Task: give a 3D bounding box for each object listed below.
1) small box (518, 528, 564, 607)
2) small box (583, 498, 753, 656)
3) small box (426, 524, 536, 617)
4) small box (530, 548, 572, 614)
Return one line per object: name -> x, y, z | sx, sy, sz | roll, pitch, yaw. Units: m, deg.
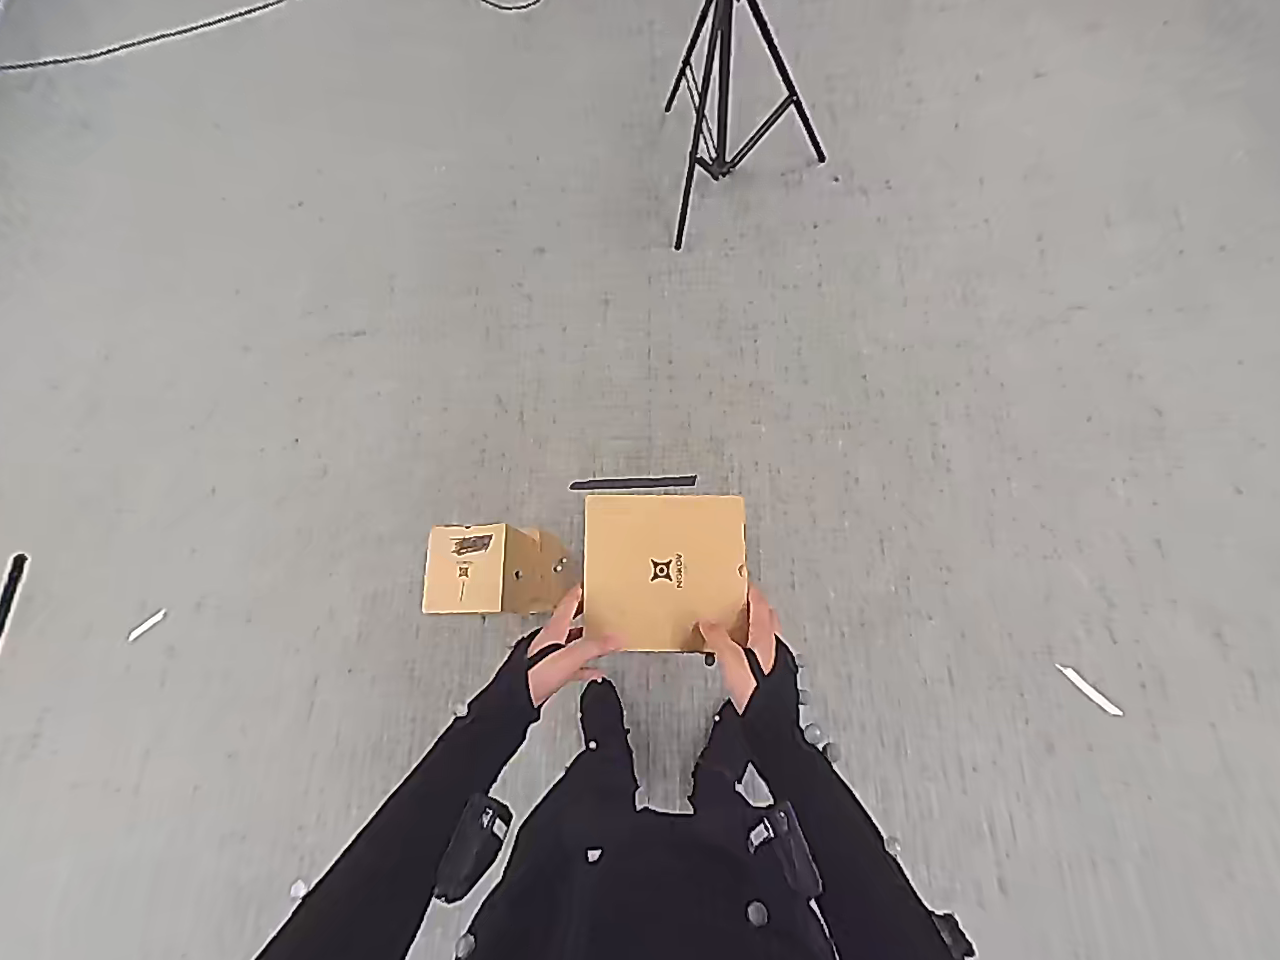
small box -> -0.291, 0.219, 1.304 | 0.179, 0.176, 0.168 | -6, 73, 6
small box -> 0.029, 0.119, 0.643 | 0.179, 0.176, 0.168 | 0, 76, -1
small box -> -0.327, 0.197, 1.143 | 0.168, 0.176, 0.179 | -3, 74, 8
small box -> -0.283, 0.269, 1.461 | 0.168, 0.176, 0.179 | -5, 74, 6
